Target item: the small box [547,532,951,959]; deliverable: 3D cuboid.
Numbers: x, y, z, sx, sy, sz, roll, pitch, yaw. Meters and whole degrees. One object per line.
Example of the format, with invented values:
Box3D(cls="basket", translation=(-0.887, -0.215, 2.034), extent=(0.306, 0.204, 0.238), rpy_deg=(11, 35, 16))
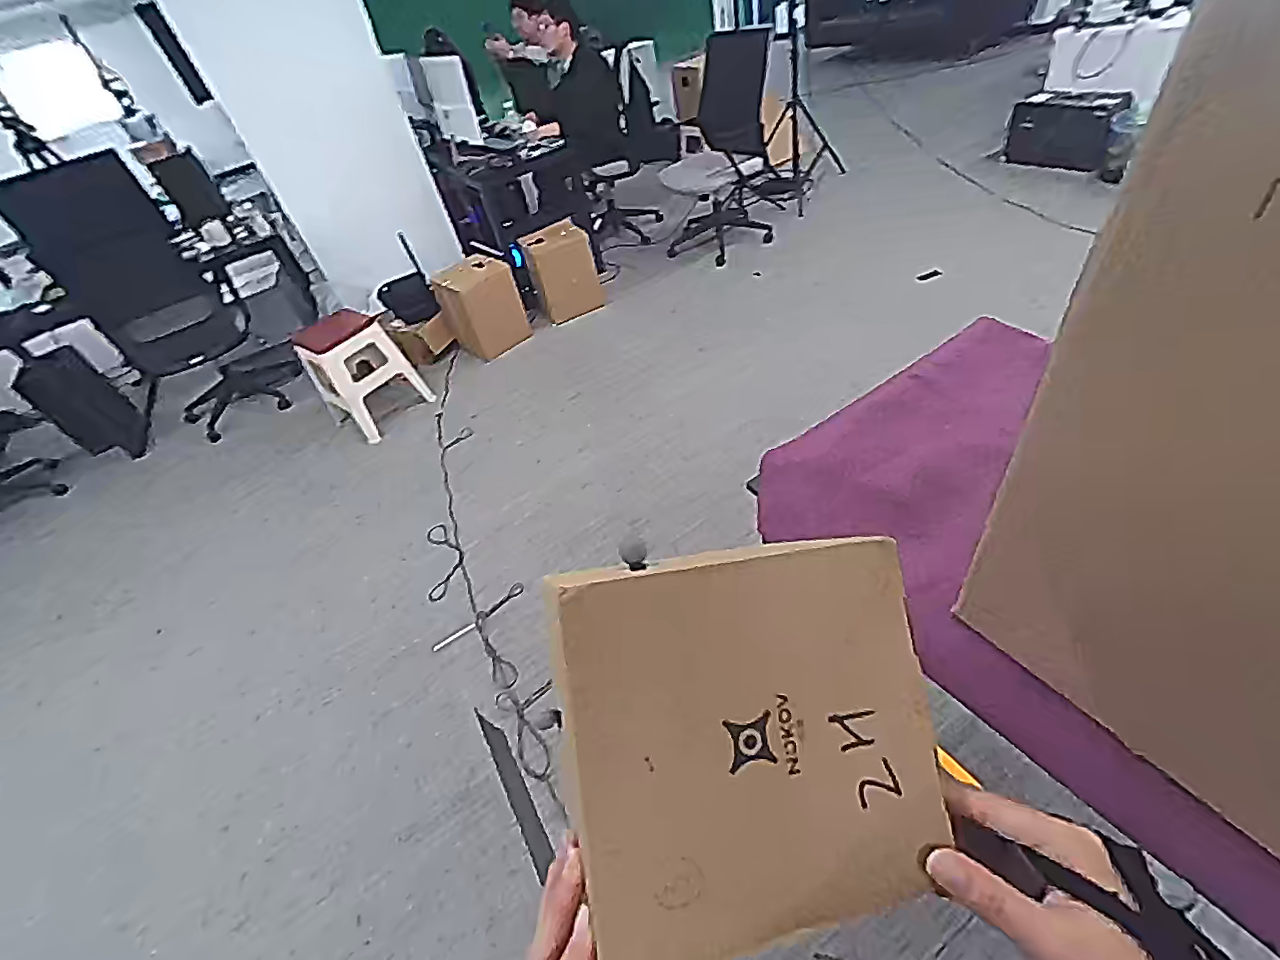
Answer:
Box3D(cls="small box", translation=(0.038, 0.125, 0.325), extent=(0.179, 0.176, 0.168), rpy_deg=(-6, 84, -13))
